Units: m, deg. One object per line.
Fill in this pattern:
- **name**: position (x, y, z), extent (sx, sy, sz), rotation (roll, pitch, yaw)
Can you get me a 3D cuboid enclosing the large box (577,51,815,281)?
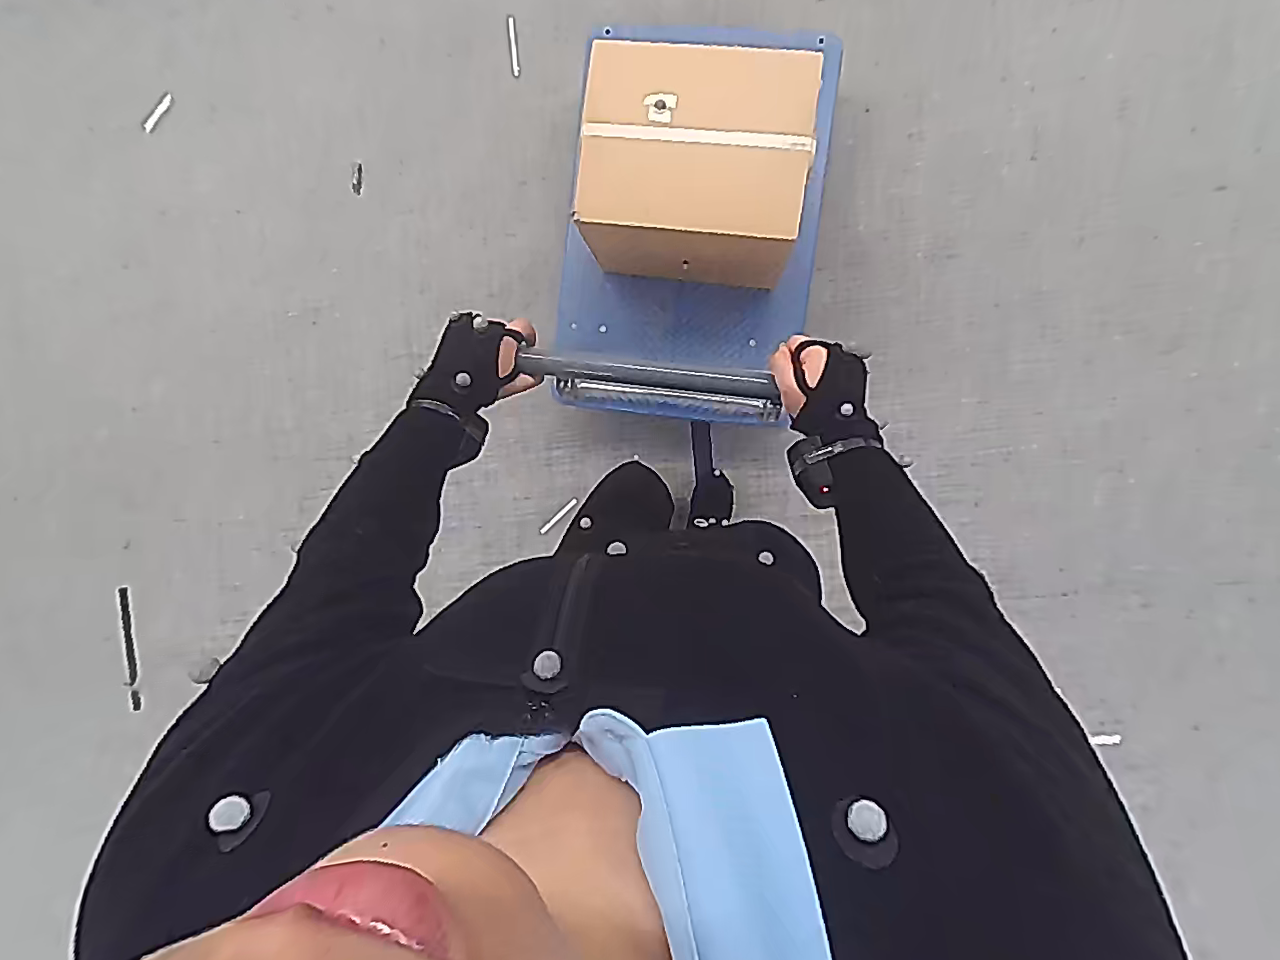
- **large box**: position (0.114, -0.618, 1.117), extent (0.408, 0.320, 0.320), rotation (8, 94, 7)
